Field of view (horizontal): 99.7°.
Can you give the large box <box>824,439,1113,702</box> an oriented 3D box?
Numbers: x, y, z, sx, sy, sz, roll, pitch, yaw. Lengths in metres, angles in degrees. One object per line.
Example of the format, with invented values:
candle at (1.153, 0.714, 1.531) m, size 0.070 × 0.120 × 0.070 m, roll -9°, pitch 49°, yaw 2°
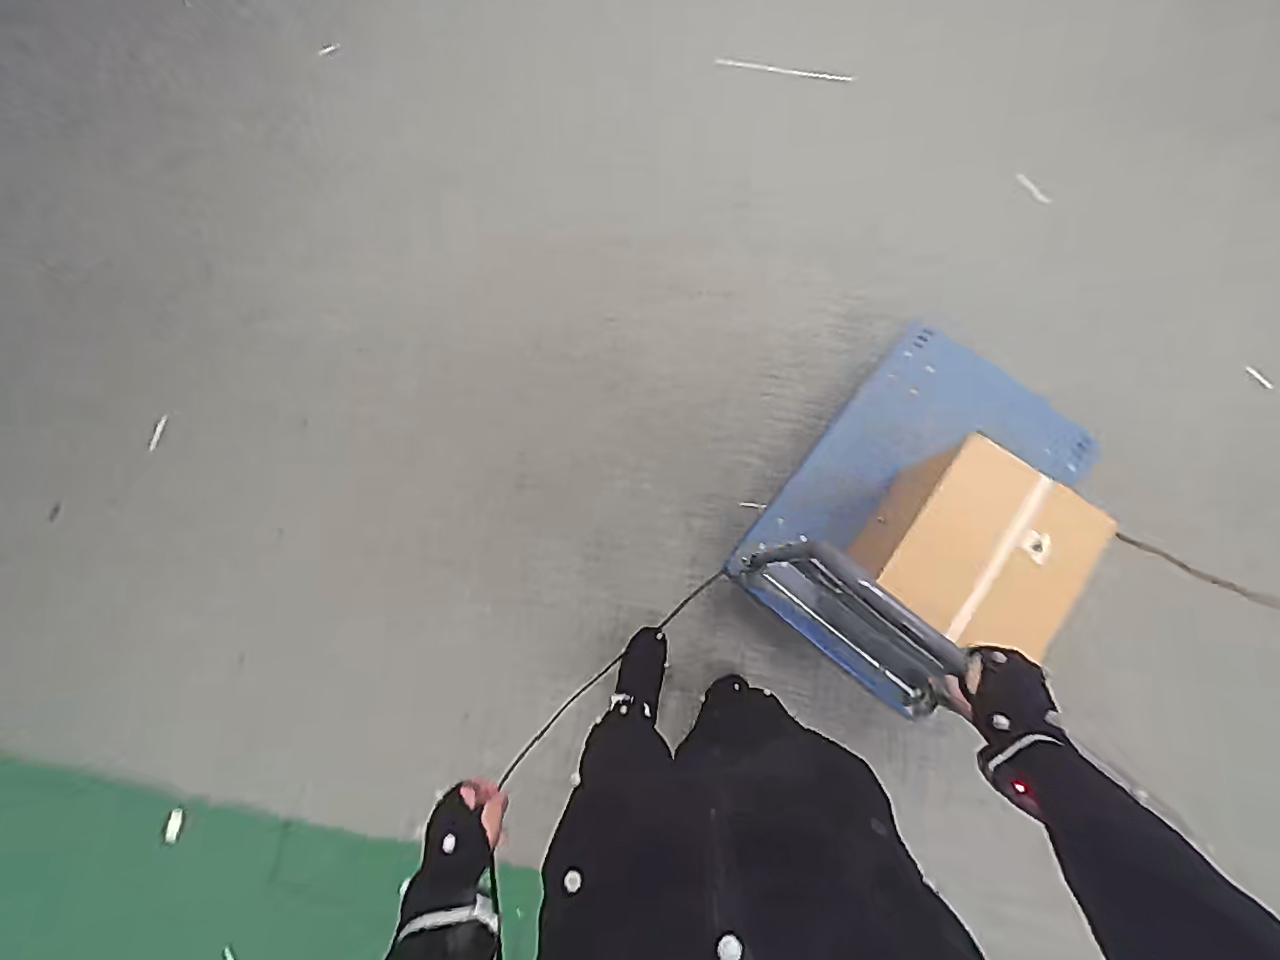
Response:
large box at (0.669, 0.196, 1.164) m, size 0.320 × 0.320 × 0.408 m, roll 37°, pitch 79°, yaw 8°
